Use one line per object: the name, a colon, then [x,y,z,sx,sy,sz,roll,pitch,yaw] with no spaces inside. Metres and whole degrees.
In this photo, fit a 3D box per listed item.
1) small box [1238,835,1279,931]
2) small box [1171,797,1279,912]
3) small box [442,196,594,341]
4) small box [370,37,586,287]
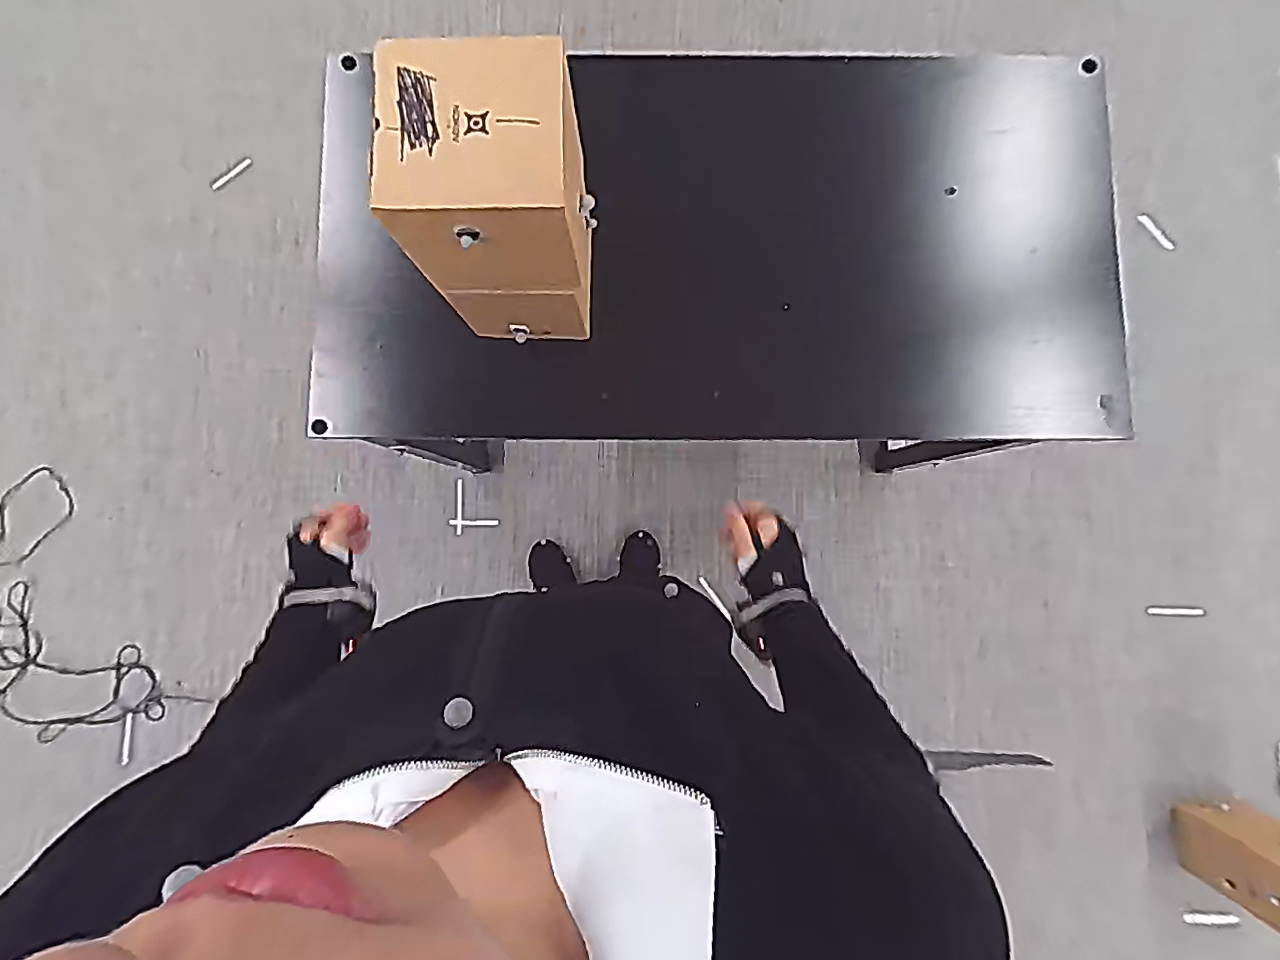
small box: [1.502,0.924,1.204,0.179,0.176,0.168,-7,86,0]
small box: [1.511,0.939,1.367,0.168,0.176,0.179,-5,86,-1]
small box: [-0.154,-0.303,0.732,0.168,0.176,0.179,0,86,1]
small box: [-0.154,-0.315,0.568,0.179,0.176,0.168,-1,85,0]
